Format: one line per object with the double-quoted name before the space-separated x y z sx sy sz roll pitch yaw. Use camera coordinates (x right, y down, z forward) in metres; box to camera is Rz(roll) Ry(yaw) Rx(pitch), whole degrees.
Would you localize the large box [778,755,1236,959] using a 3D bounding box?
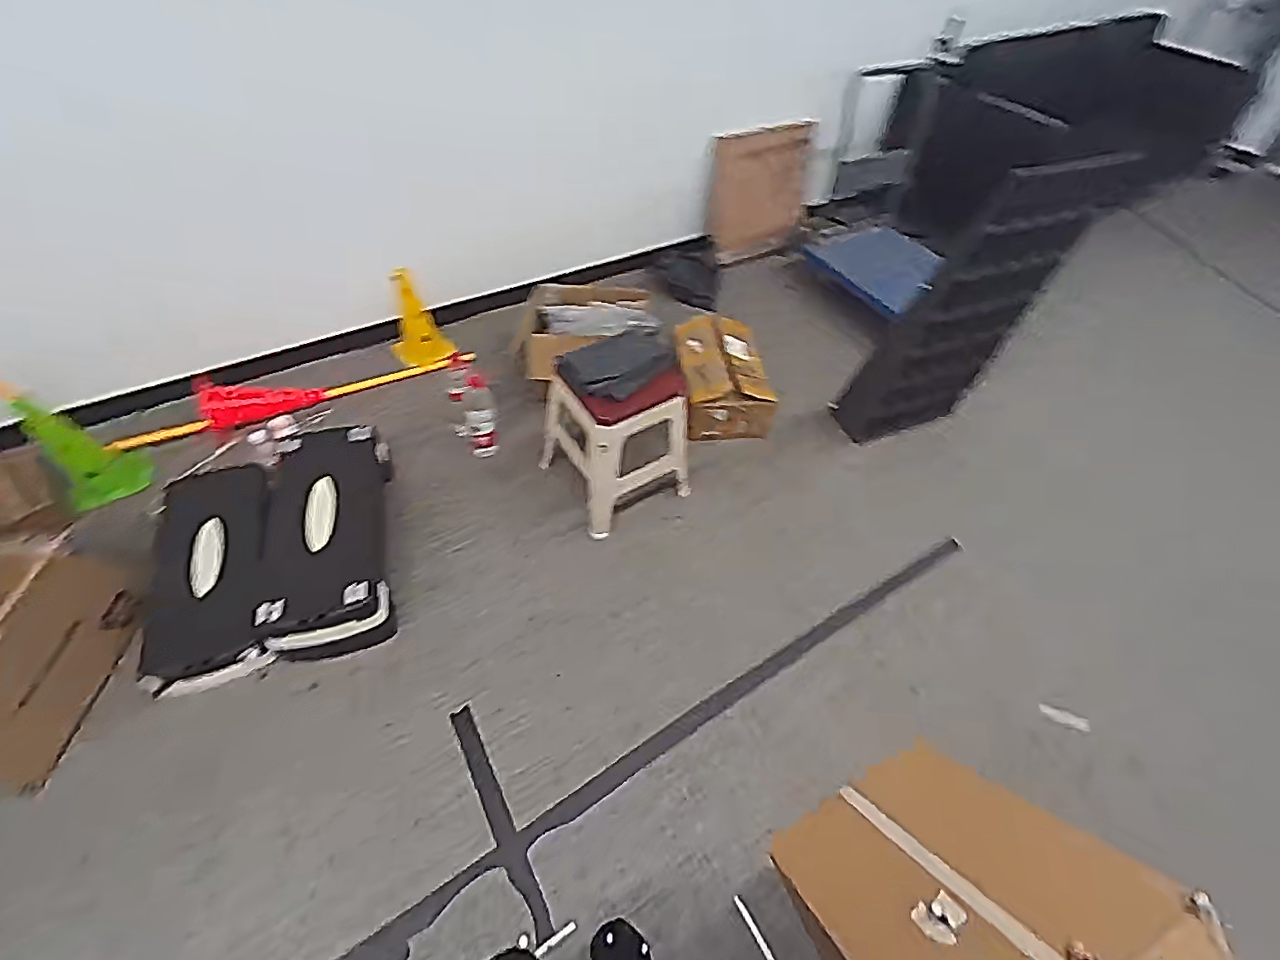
"large box" 0.445 0.638 0.680 0.320 0.408 0.320 -26 91 -11
